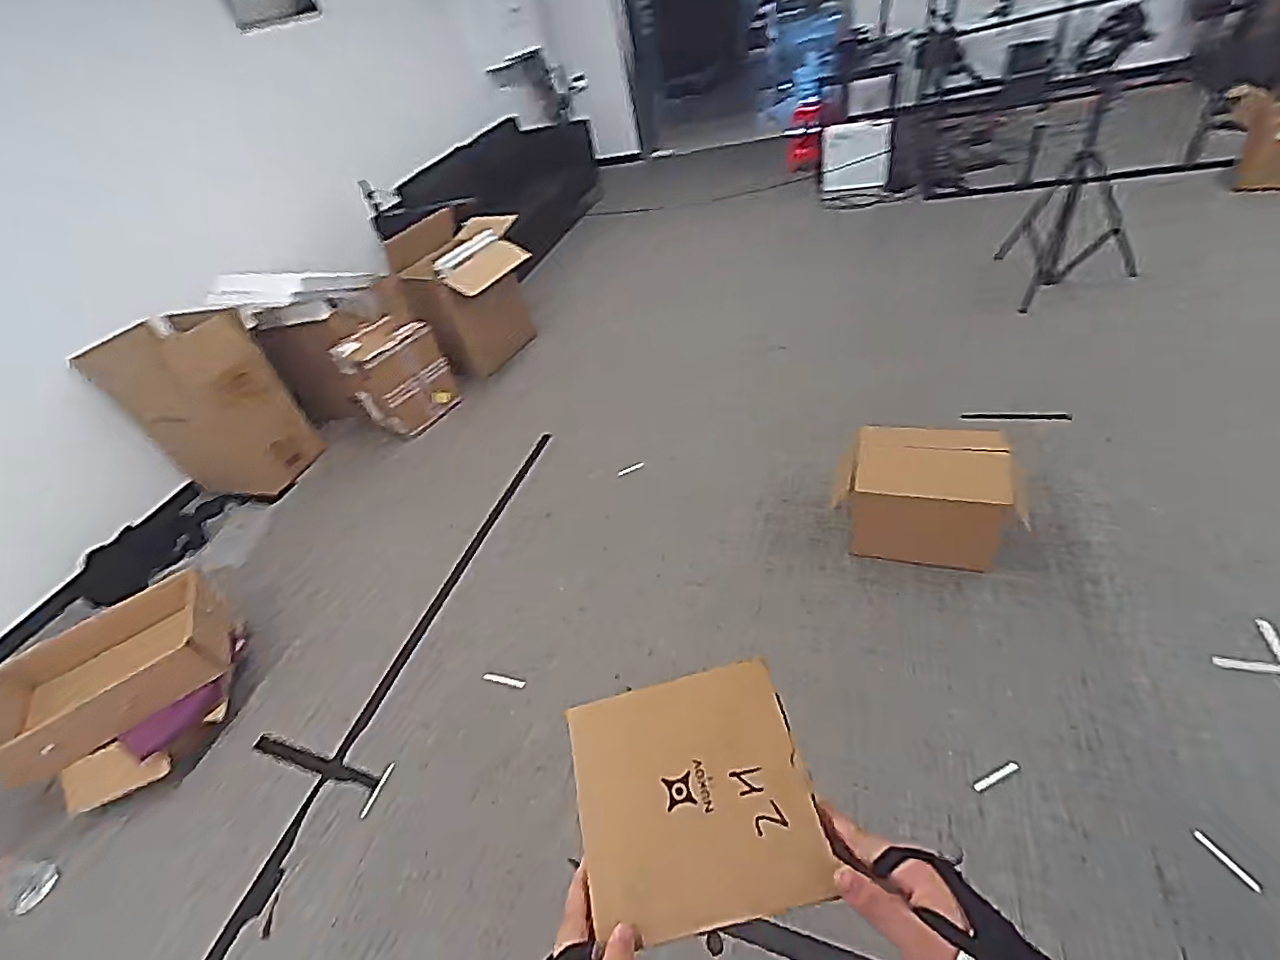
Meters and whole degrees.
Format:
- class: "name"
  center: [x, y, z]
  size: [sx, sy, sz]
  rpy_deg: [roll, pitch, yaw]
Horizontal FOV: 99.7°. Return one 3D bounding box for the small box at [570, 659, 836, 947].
- class: "small box"
  center: [0.052, 0.283, 0.478]
  size: [0.179, 0.176, 0.168]
  rpy_deg: [-15, 54, 1]
